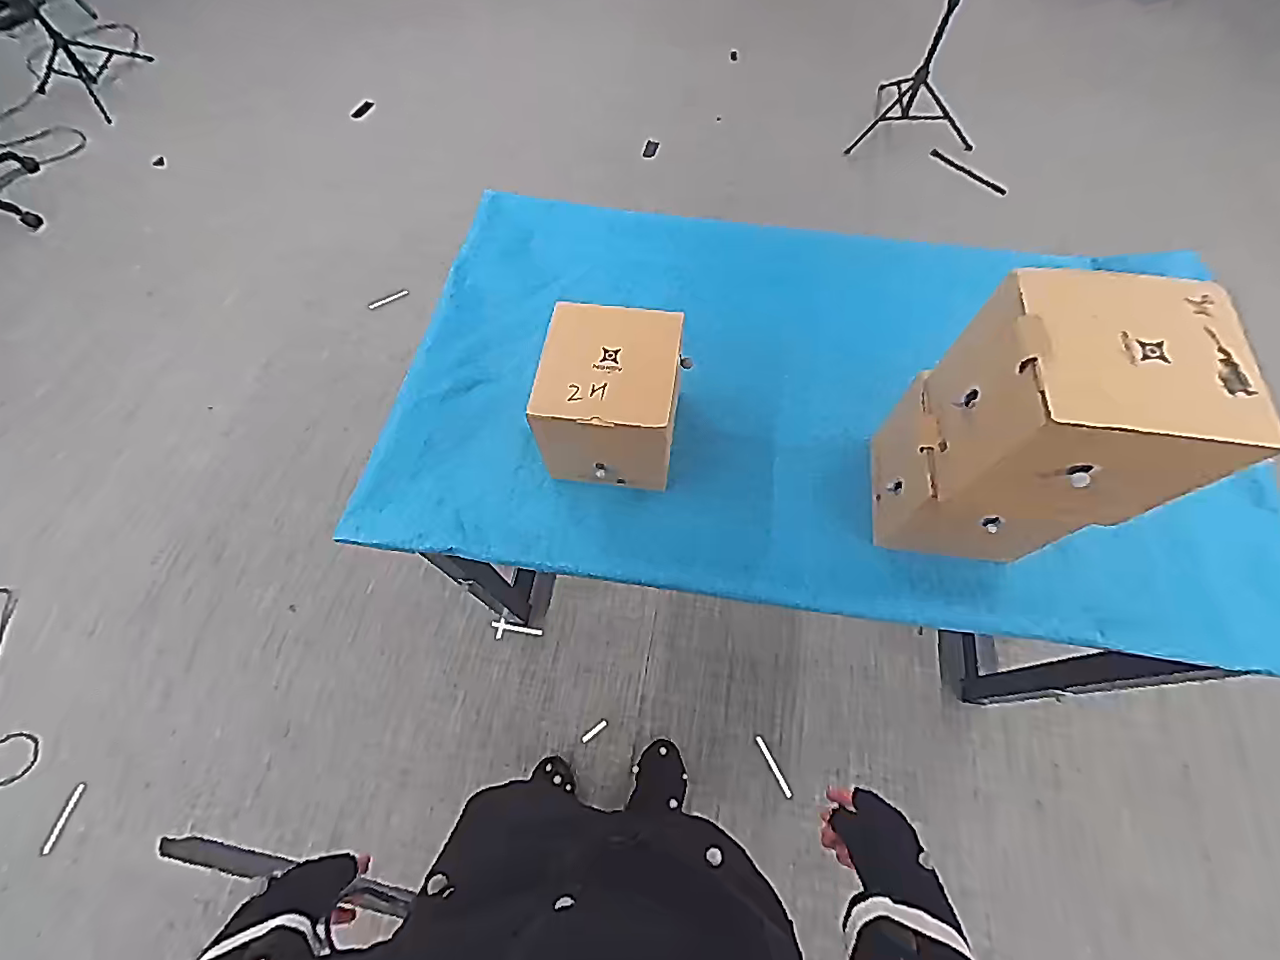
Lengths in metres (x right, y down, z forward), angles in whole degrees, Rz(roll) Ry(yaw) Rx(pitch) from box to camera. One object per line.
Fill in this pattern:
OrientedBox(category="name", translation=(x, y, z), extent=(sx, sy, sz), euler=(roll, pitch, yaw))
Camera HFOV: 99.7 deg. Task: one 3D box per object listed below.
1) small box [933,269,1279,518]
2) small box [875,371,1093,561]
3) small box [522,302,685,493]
OrientedBox(category="small box", translation=(0.400, -0.072, 0.509), extent=(0.179, 0.176, 0.168), euler=(5, 65, 3))
OrientedBox(category="small box", translation=(0.399, -0.010, 0.659), extent=(0.179, 0.176, 0.168), euler=(8, 66, 6))
OrientedBox(category="small box", translation=(-0.038, -0.104, 0.719), extent=(0.168, 0.176, 0.179), euler=(10, 68, 8))
